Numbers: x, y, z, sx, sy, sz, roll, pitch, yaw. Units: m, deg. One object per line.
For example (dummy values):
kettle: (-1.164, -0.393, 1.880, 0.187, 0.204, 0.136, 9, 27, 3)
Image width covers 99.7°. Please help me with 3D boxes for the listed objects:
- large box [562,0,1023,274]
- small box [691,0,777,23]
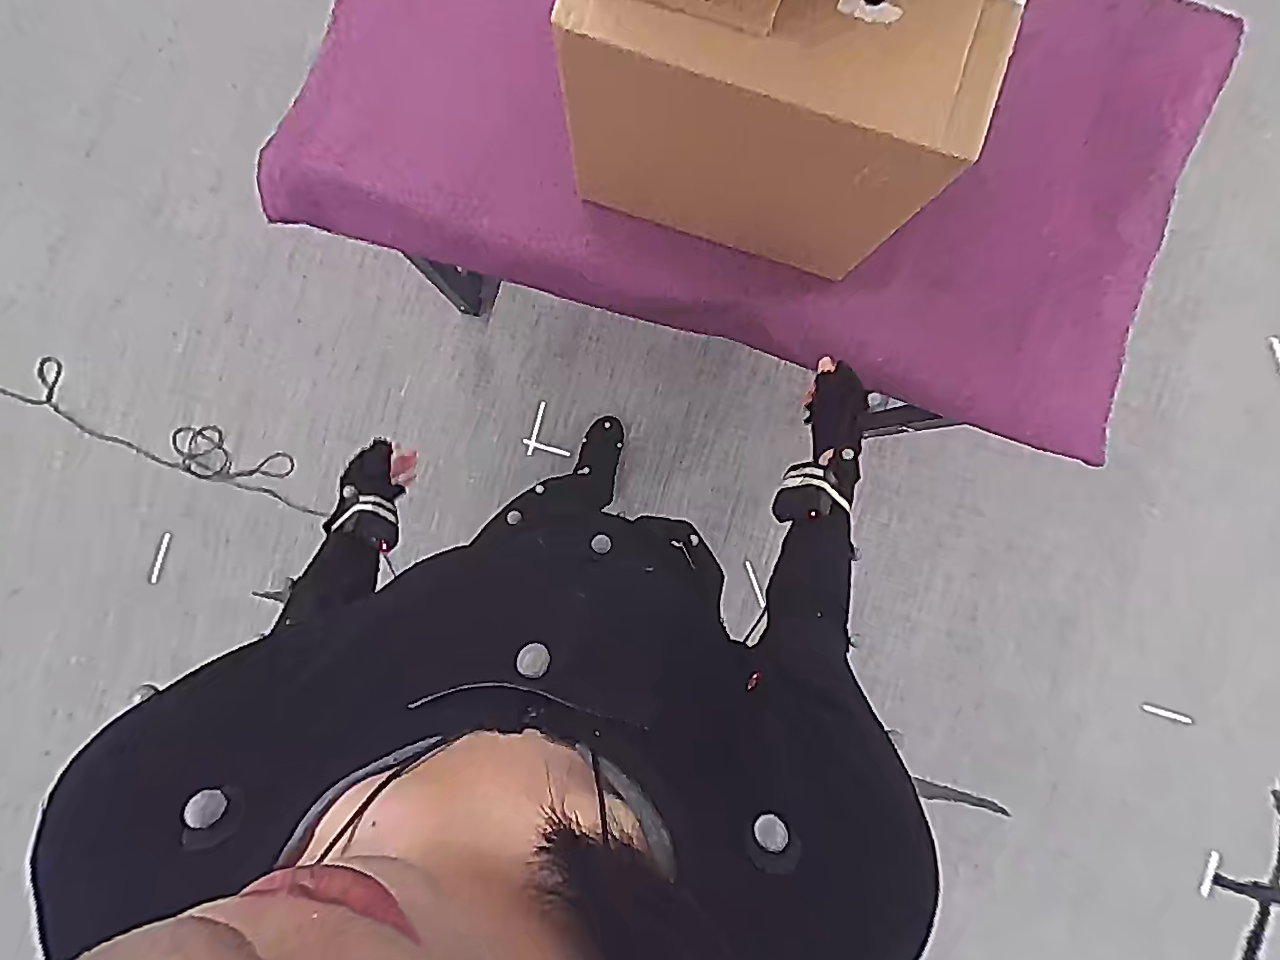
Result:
large box: (0.149, -0.490, 0.630, 0.408, 0.320, 0.320, 16, 91, -3)
small box: (0.058, -0.488, 0.383, 0.168, 0.176, 0.179, 15, 89, -4)
